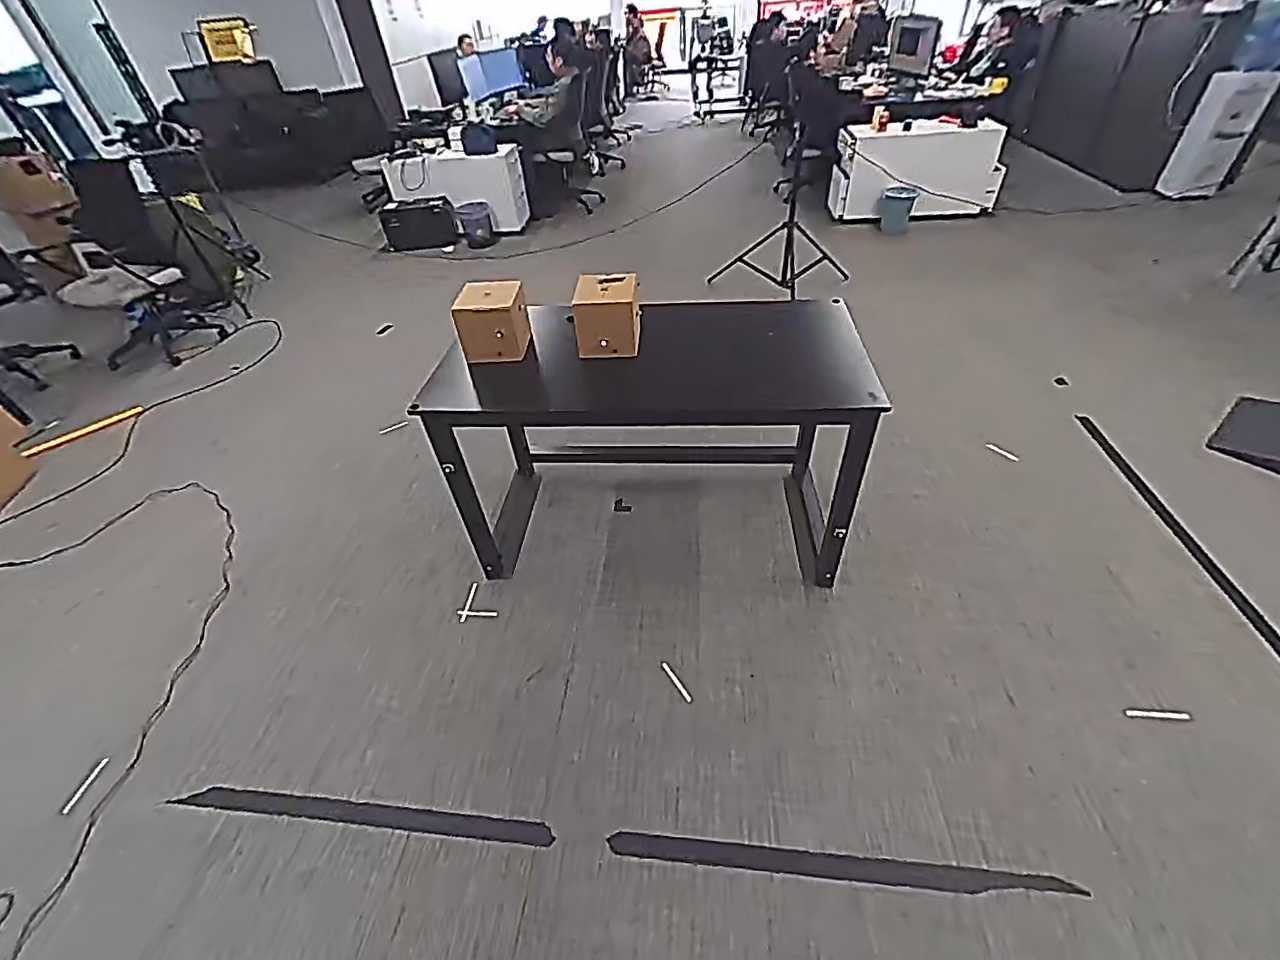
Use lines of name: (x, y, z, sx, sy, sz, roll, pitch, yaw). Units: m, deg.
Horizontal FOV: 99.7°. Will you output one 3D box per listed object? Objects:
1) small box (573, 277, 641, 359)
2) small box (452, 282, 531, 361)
small box: (-0.087, -0.462, 1.541, 0.168, 0.176, 0.179, 0, 43, 5)
small box: (-0.419, -0.454, 1.562, 0.168, 0.176, 0.179, -1, 42, 2)
